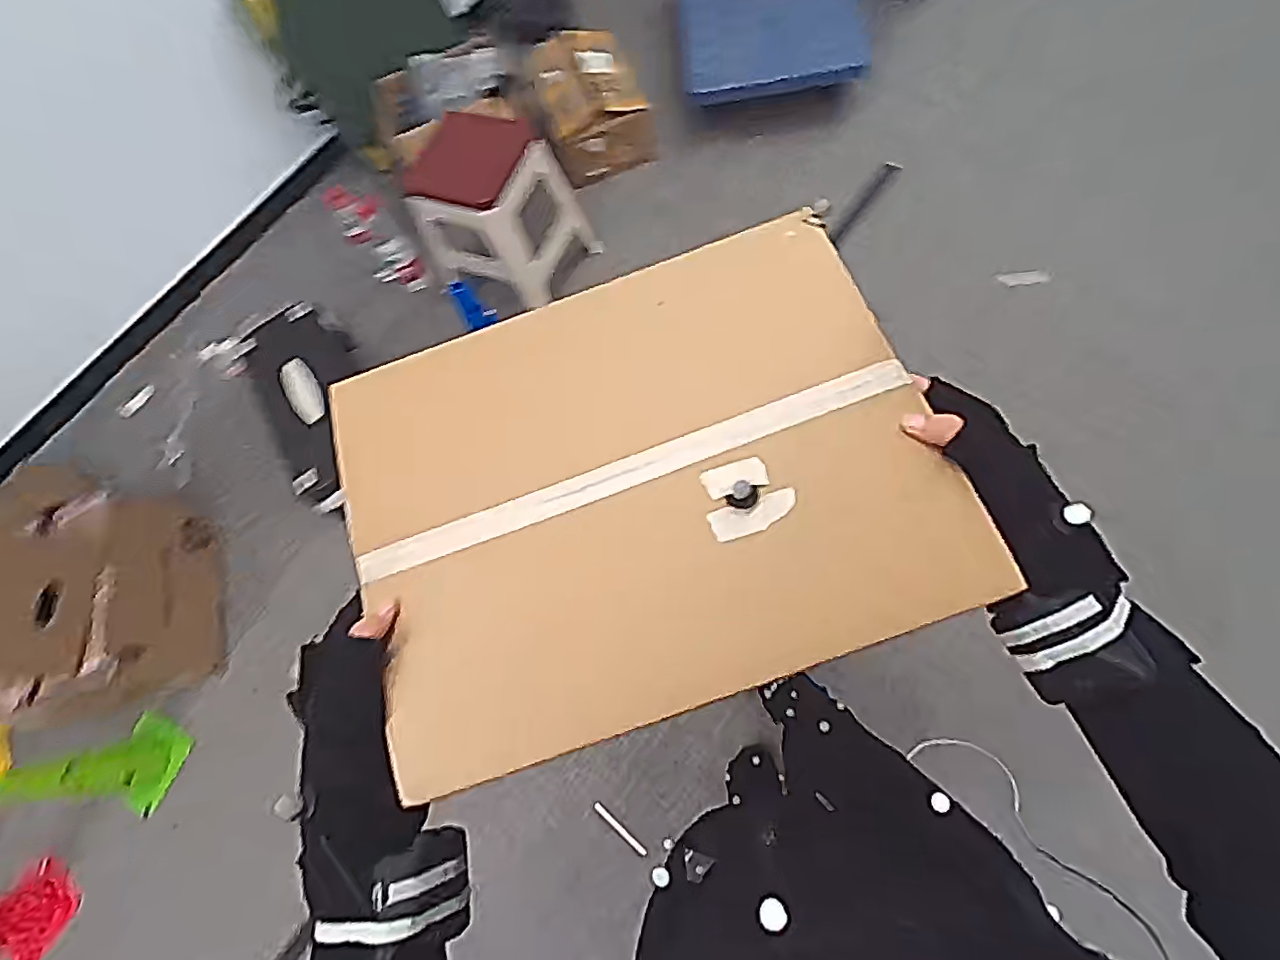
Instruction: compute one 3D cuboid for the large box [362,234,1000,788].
[{"bbox_3d":[0.018,0.046,0.536,0.408,0.320,0.320,-19,71,1],"label":"large box"}]
